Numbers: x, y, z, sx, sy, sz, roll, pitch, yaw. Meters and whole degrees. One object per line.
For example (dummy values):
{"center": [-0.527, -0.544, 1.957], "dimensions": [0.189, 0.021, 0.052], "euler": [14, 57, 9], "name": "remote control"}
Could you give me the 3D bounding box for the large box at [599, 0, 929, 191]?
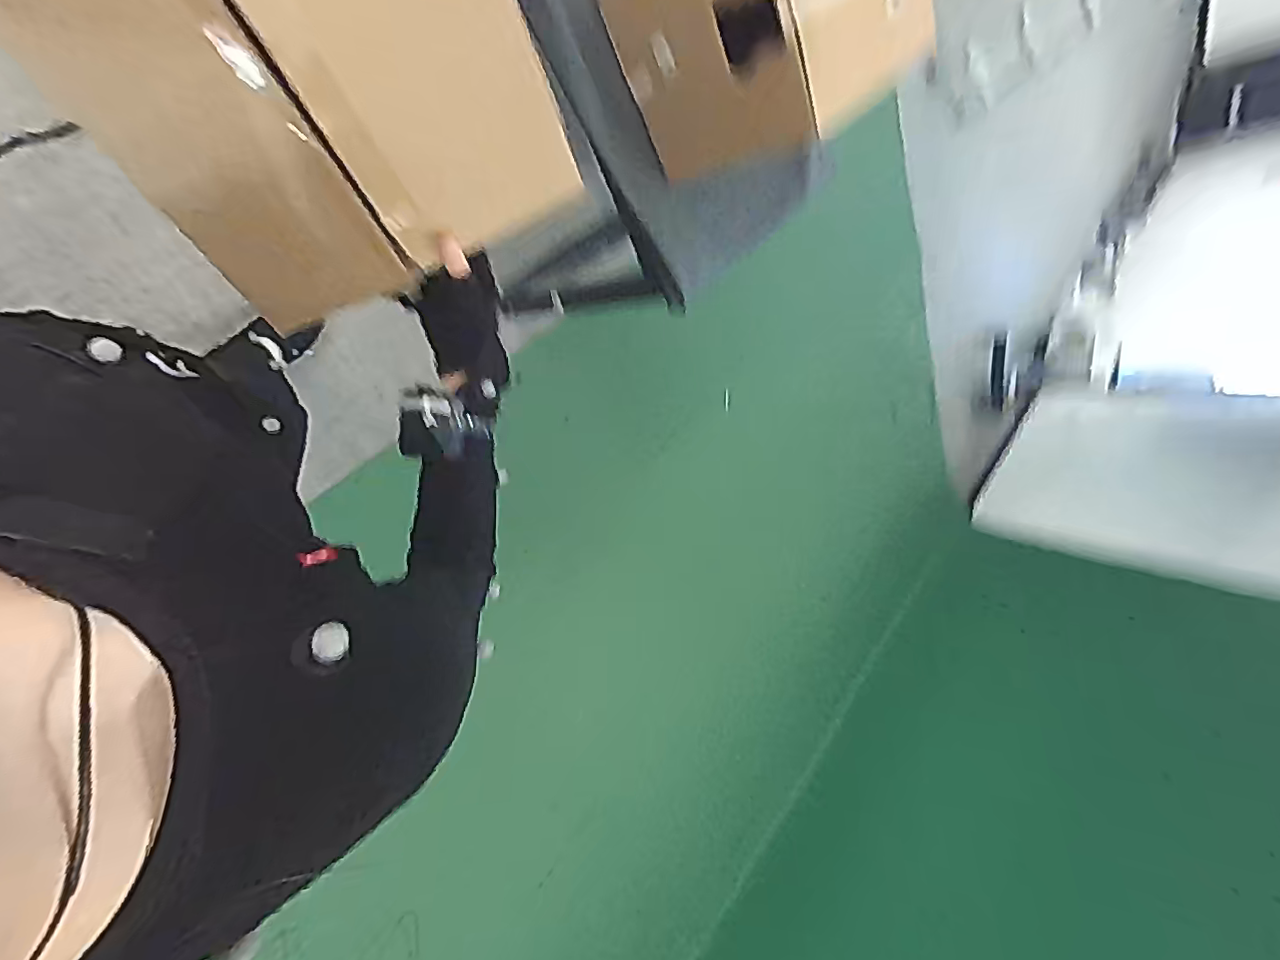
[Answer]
{"center": [0.213, -0.742, 0.880], "dimensions": [0.408, 0.320, 0.320], "euler": [-46, 126, -25], "name": "large box"}
